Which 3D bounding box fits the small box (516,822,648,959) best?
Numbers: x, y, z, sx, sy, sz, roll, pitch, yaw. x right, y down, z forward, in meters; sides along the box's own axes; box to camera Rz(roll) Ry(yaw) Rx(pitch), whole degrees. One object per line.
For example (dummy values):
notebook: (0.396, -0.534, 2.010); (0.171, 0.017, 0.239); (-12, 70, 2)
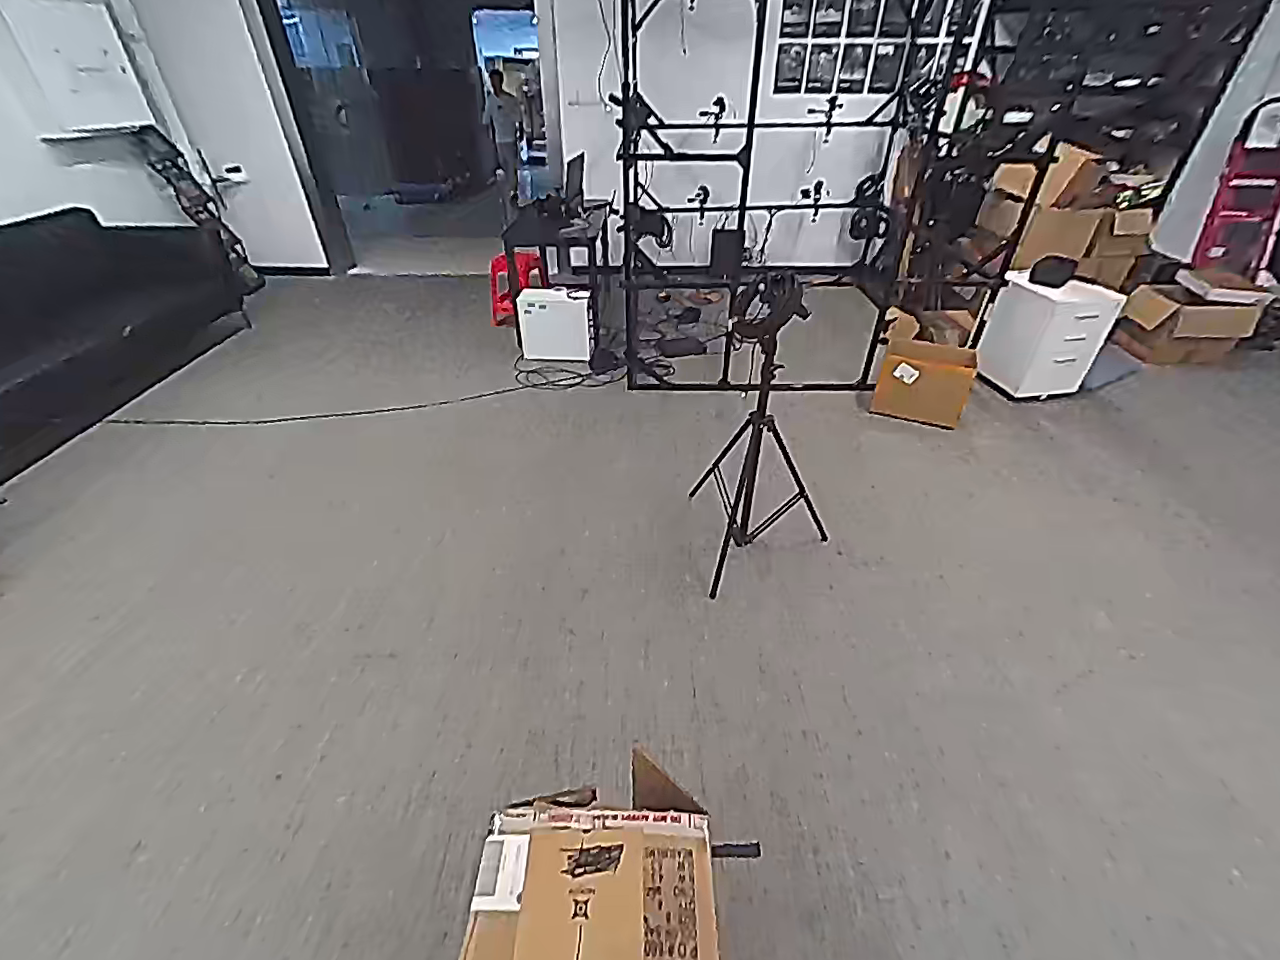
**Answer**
small box: (-0.073, 0.618, 0.774); (0.168, 0.176, 0.179); (0, 40, 1)
